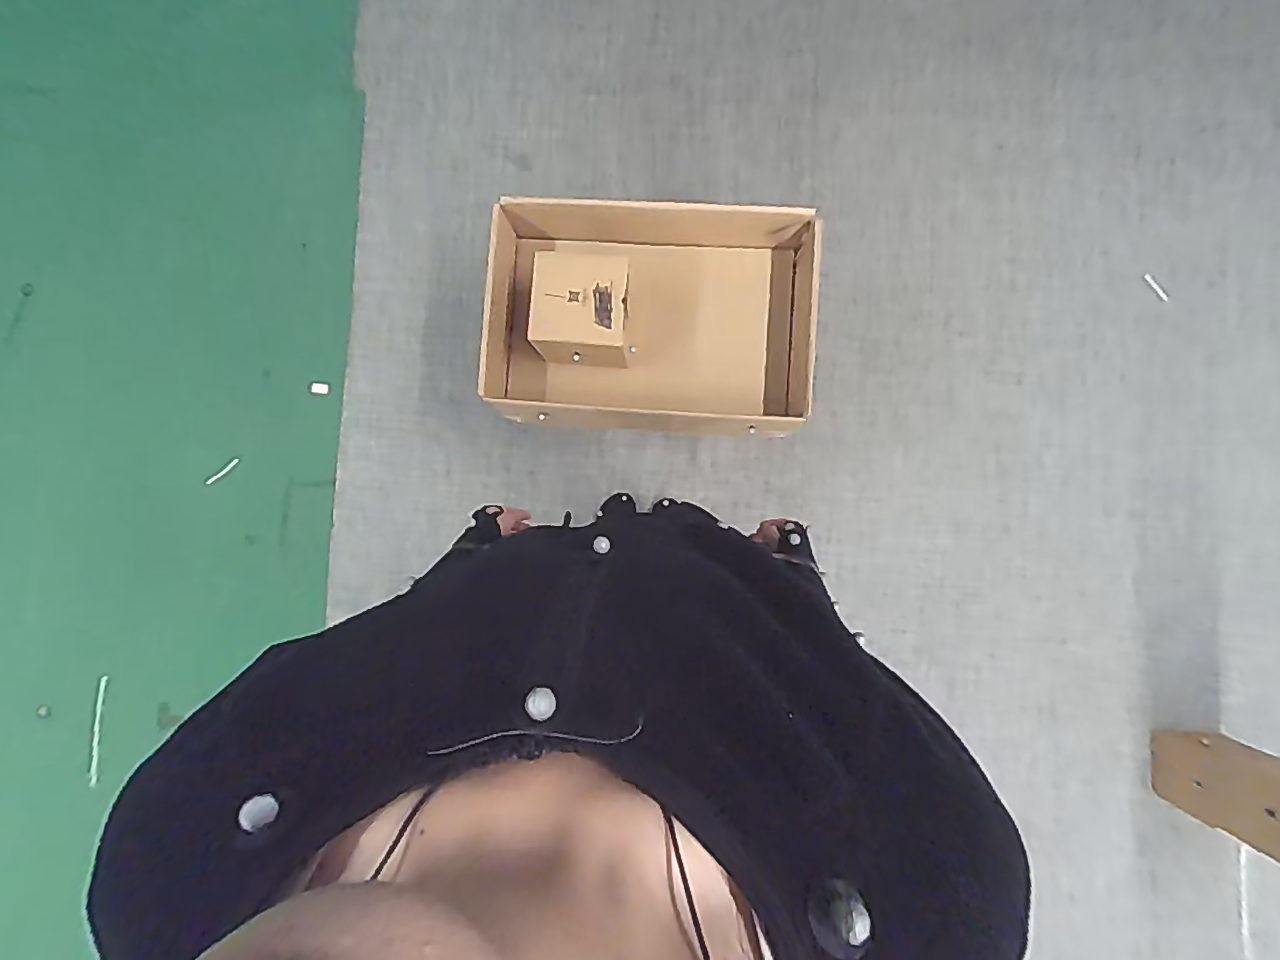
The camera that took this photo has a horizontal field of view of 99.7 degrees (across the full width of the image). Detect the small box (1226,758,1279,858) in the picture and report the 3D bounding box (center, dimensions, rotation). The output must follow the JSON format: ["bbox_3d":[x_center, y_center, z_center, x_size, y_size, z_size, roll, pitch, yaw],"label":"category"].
[{"bbox_3d":[1.439,0.728,1.174,0.168,0.176,0.179,2,87,4],"label":"small box"}]

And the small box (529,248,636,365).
[{"bbox_3d":[-0.102,-0.326,1.048,0.179,0.176,0.168,5,88,3],"label":"small box"}]

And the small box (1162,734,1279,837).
[{"bbox_3d":[1.448,0.749,1.336,0.168,0.176,0.179,1,87,3],"label":"small box"}]
